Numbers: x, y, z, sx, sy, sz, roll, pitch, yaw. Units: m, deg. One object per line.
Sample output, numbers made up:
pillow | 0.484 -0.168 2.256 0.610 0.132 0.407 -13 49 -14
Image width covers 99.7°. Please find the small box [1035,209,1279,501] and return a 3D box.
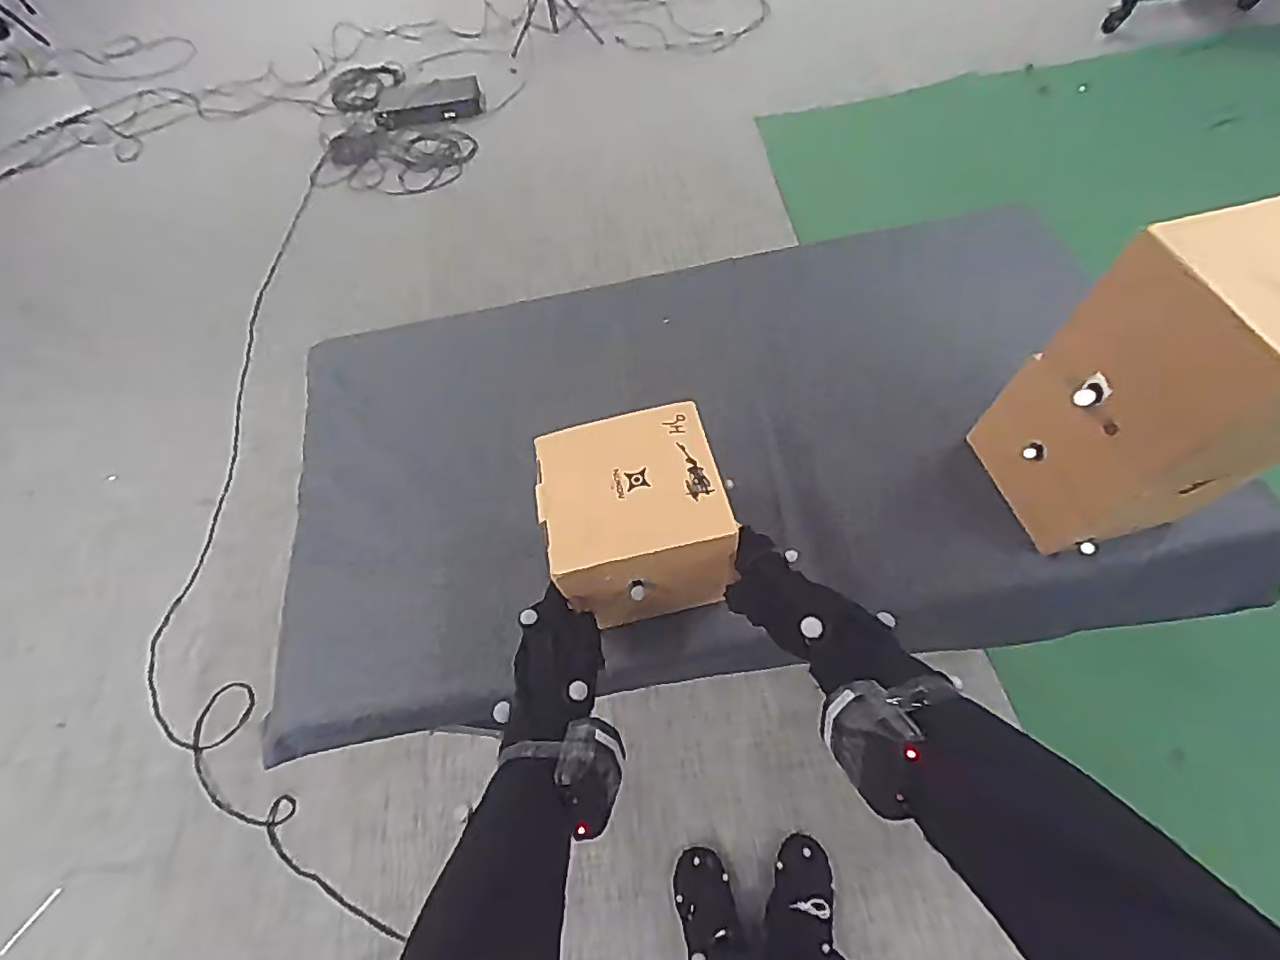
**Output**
small box | 0.506 -0.103 0.470 0.179 0.176 0.168 -14 60 0

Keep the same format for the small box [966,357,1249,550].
small box | 0.521 -0.034 0.616 0.168 0.176 0.179 -15 60 -2

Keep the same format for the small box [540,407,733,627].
small box | 0.001 0.050 0.607 0.179 0.176 0.168 -13 56 0
